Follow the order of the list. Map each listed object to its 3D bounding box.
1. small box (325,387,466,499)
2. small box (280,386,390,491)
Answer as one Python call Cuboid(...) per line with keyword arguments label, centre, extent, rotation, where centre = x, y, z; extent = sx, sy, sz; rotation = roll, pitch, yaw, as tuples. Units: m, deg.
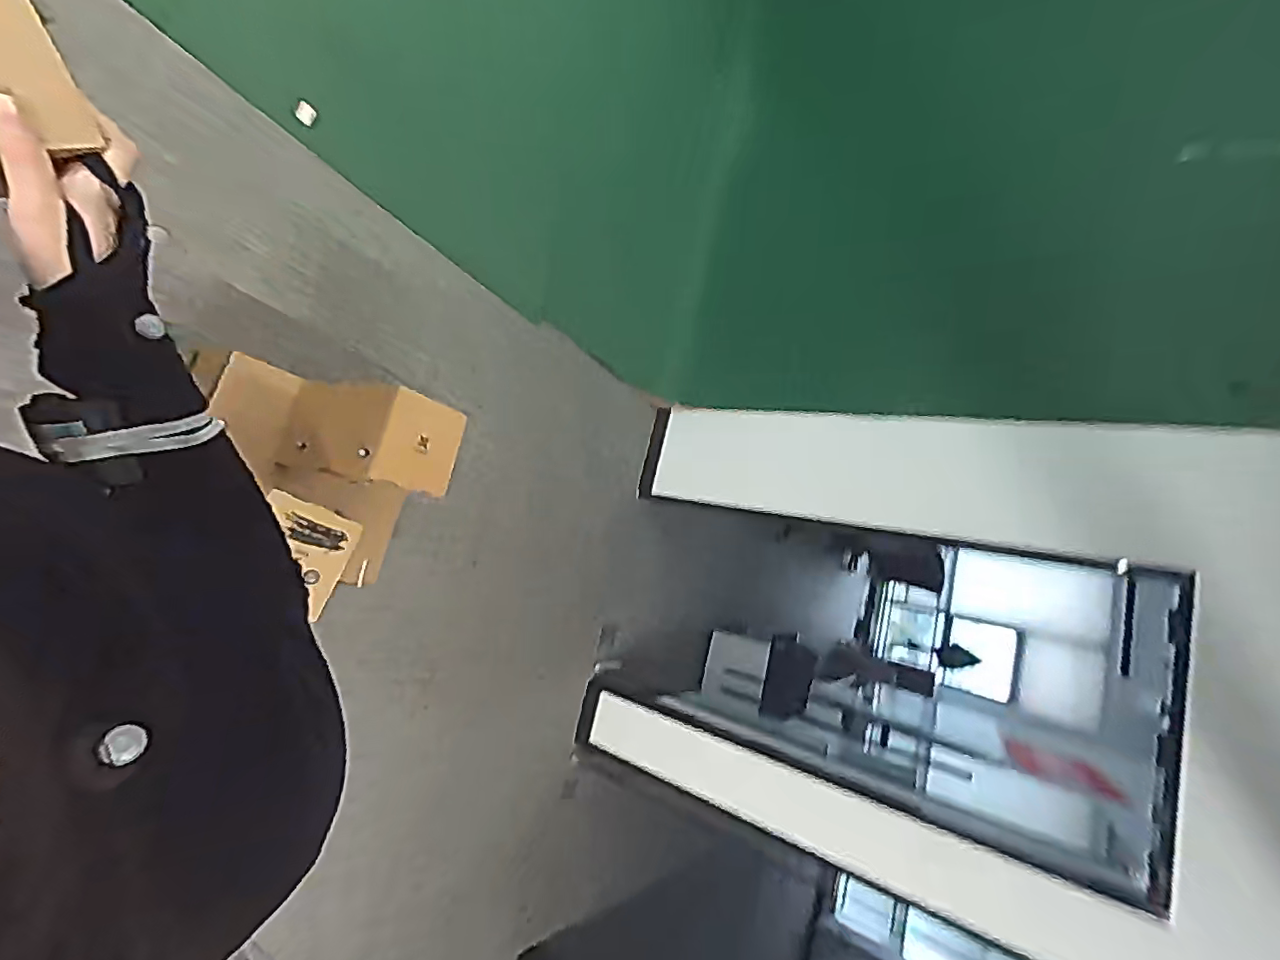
Cuboid(label="small box", centre=(-0.480, -0.074, 1.061), extent=(0.168, 0.176, 0.179), rotation=(28, 74, -57))
Cuboid(label="small box", centre=(-0.621, -0.088, 1.143), extent=(0.168, 0.176, 0.179), rotation=(27, 73, -58))
